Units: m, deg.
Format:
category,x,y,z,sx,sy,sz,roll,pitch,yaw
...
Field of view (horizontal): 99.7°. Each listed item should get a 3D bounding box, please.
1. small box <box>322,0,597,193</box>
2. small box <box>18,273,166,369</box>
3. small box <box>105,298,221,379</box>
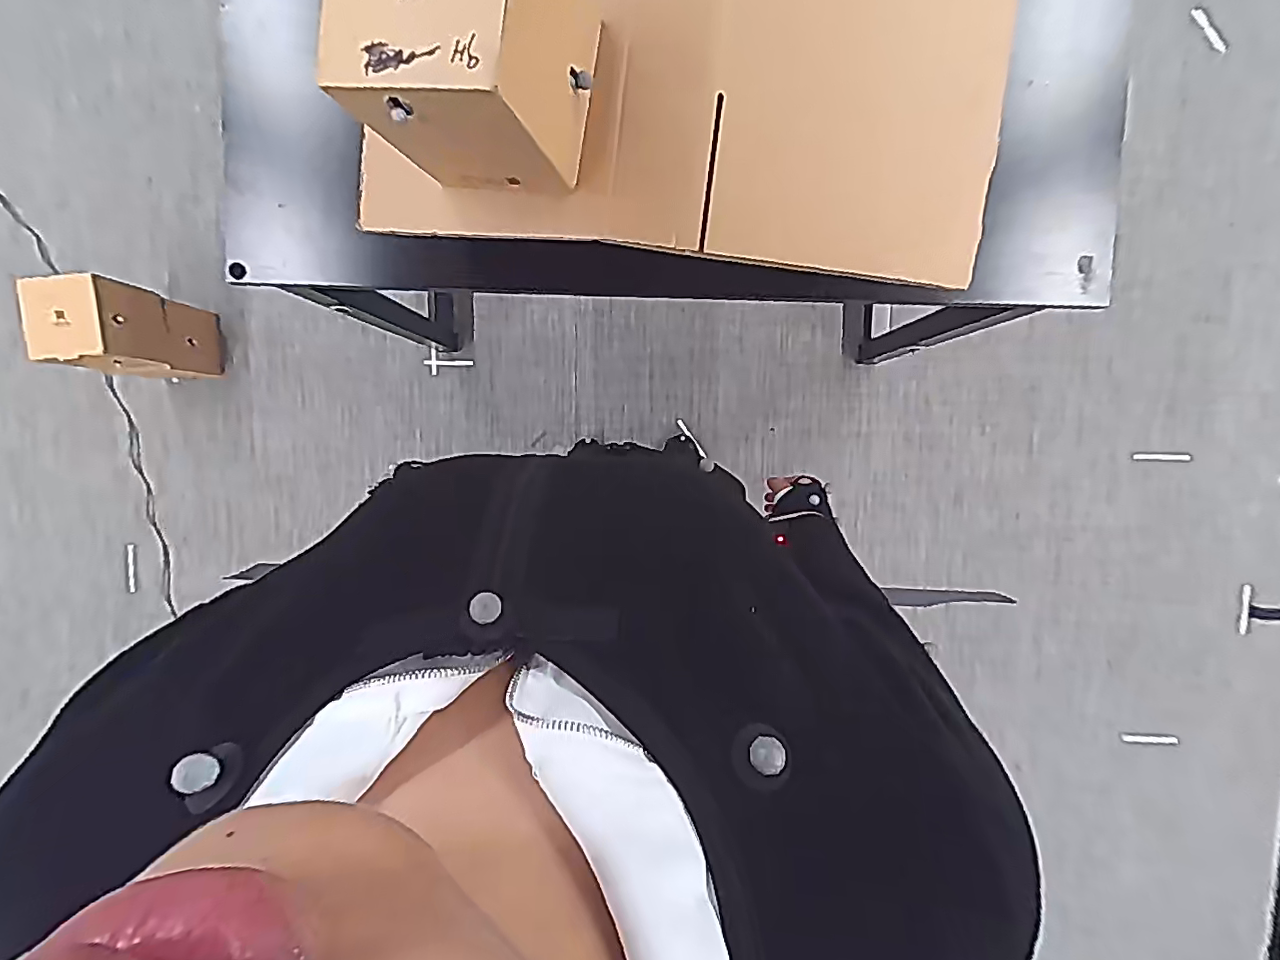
category,x,y,z,sx,sy,sz,roll,pitch,yaw
small box,-0.148,-0.396,0.495,0.168,0.176,0.179,11,95,13
small box,-1.238,-0.354,1.237,0.168,0.176,0.179,-6,93,0
small box,-1.234,-0.361,1.400,0.168,0.176,0.179,-2,95,1
